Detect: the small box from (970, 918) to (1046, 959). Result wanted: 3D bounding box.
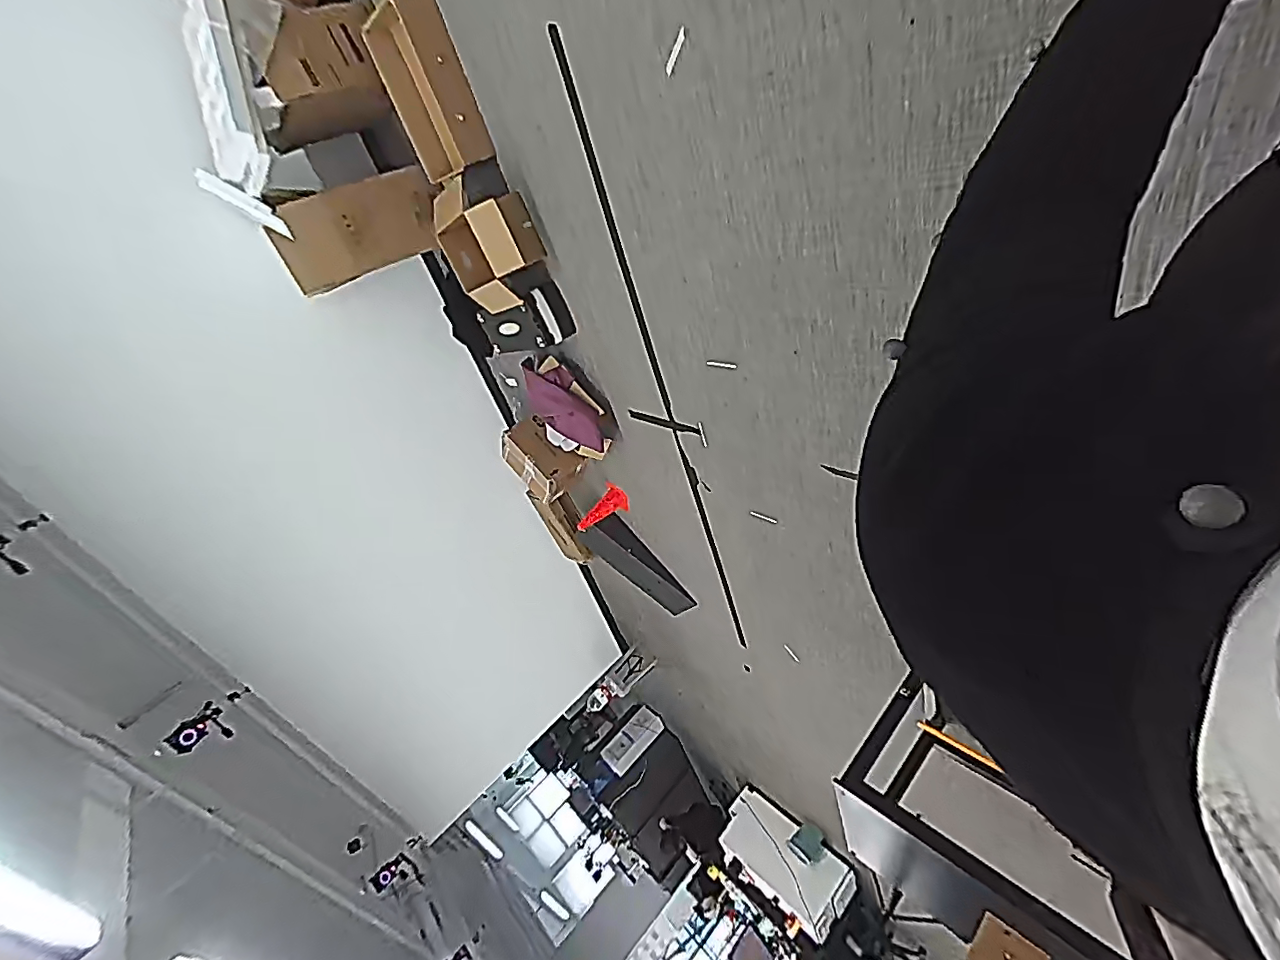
[{"bbox_3d":[1.074,1.438,1.577,0.168,0.176,0.179,19,139,47],"label":"small box"}]
